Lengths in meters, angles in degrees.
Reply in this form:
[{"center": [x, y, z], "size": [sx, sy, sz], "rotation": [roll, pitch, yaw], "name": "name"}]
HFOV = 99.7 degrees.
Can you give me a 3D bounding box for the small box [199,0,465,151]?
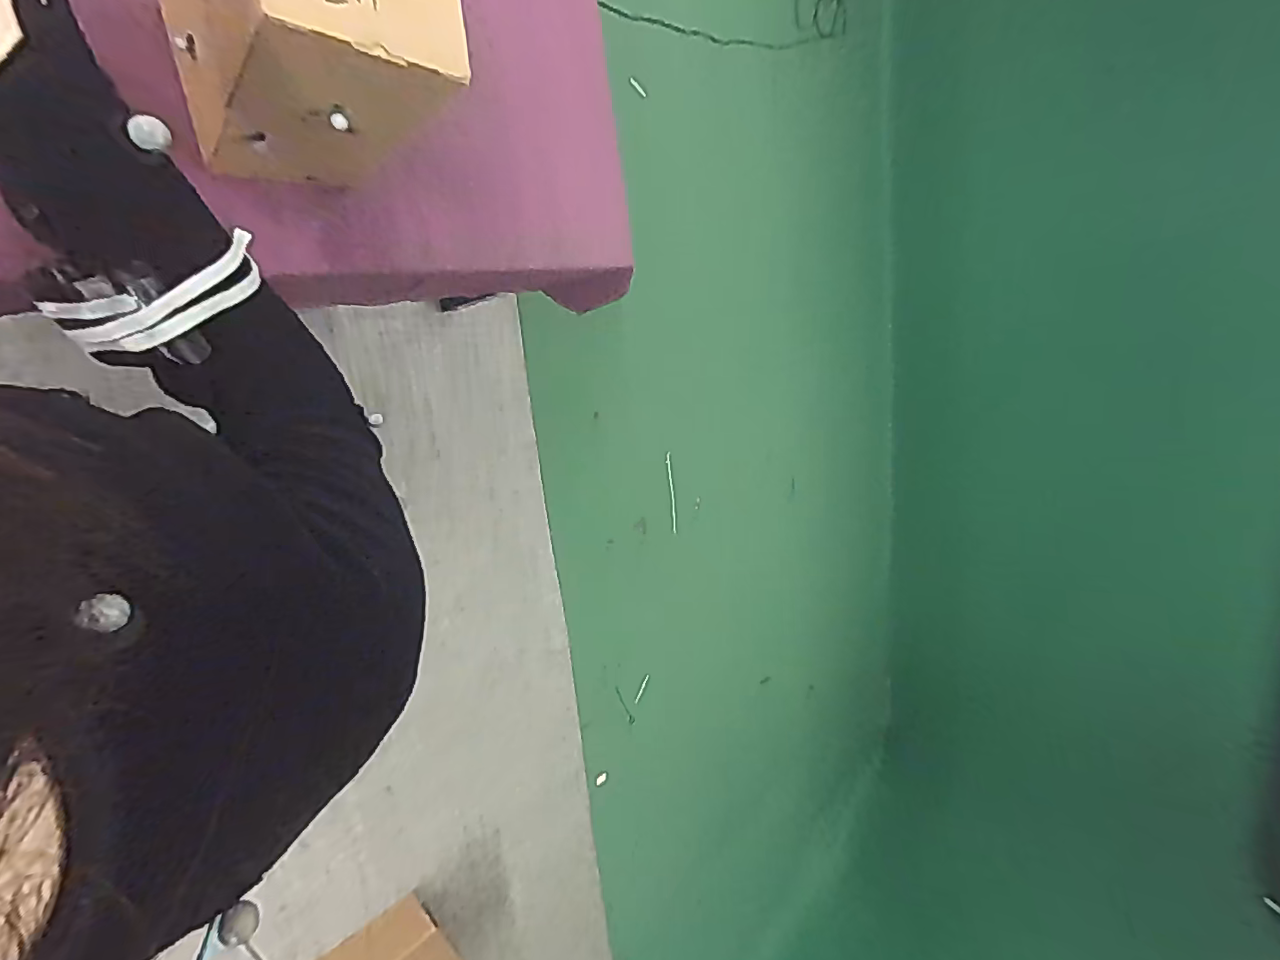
[{"center": [-0.285, -0.435, 0.488], "size": [0.168, 0.176, 0.179], "rotation": [-16, 105, -44], "name": "small box"}]
